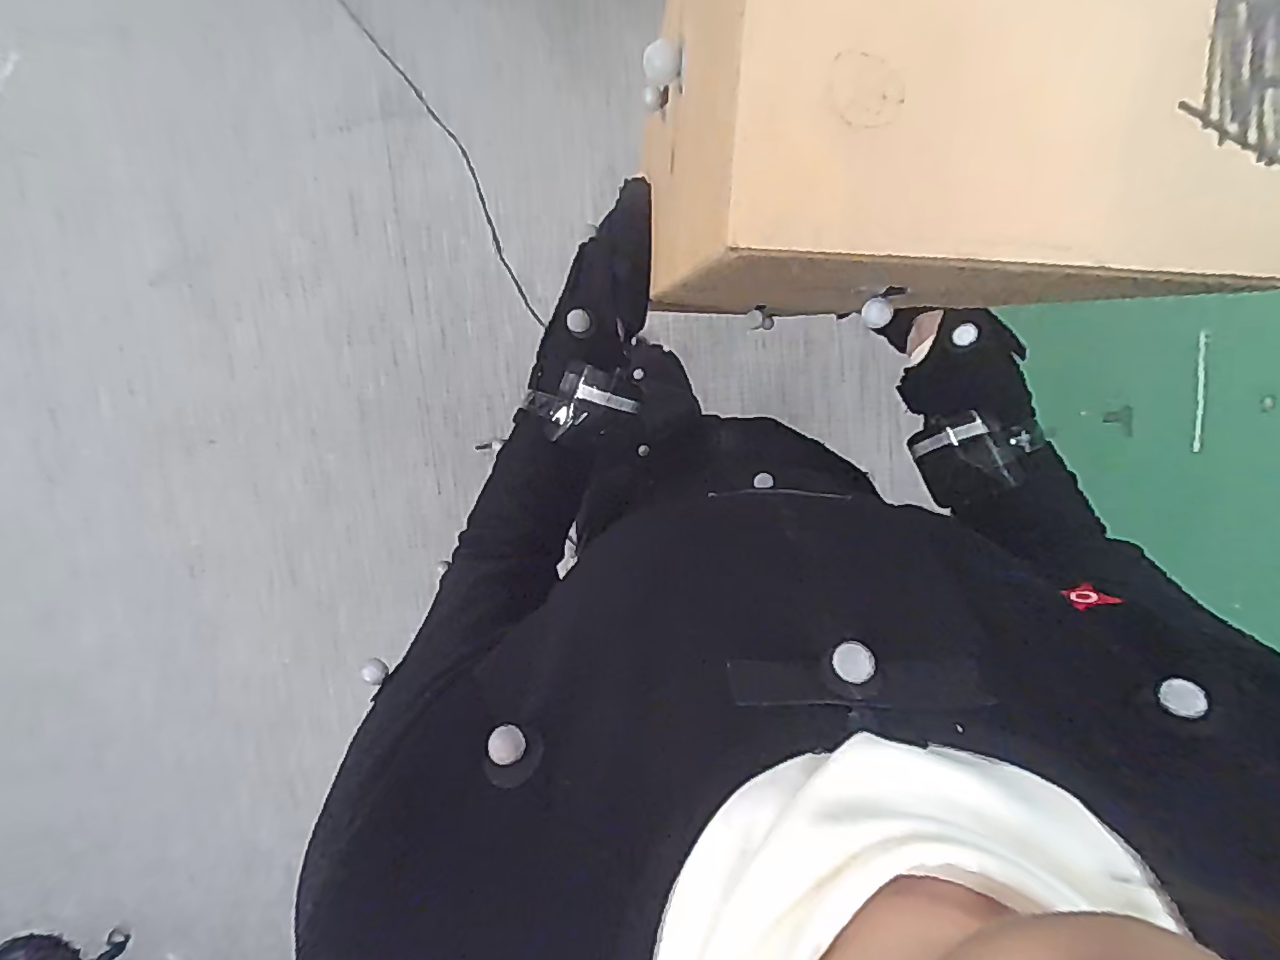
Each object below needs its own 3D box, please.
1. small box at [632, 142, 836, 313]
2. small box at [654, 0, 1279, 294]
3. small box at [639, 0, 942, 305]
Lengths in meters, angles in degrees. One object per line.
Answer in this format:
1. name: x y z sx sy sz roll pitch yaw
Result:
1. small box: 0.085 -0.253 0.524 0.179 0.176 0.168 1 105 -2
2. small box: 0.103 -0.166 0.207 0.179 0.176 0.168 2 105 -3
3. small box: 0.093 -0.210 0.367 0.179 0.176 0.168 -1 106 -3
